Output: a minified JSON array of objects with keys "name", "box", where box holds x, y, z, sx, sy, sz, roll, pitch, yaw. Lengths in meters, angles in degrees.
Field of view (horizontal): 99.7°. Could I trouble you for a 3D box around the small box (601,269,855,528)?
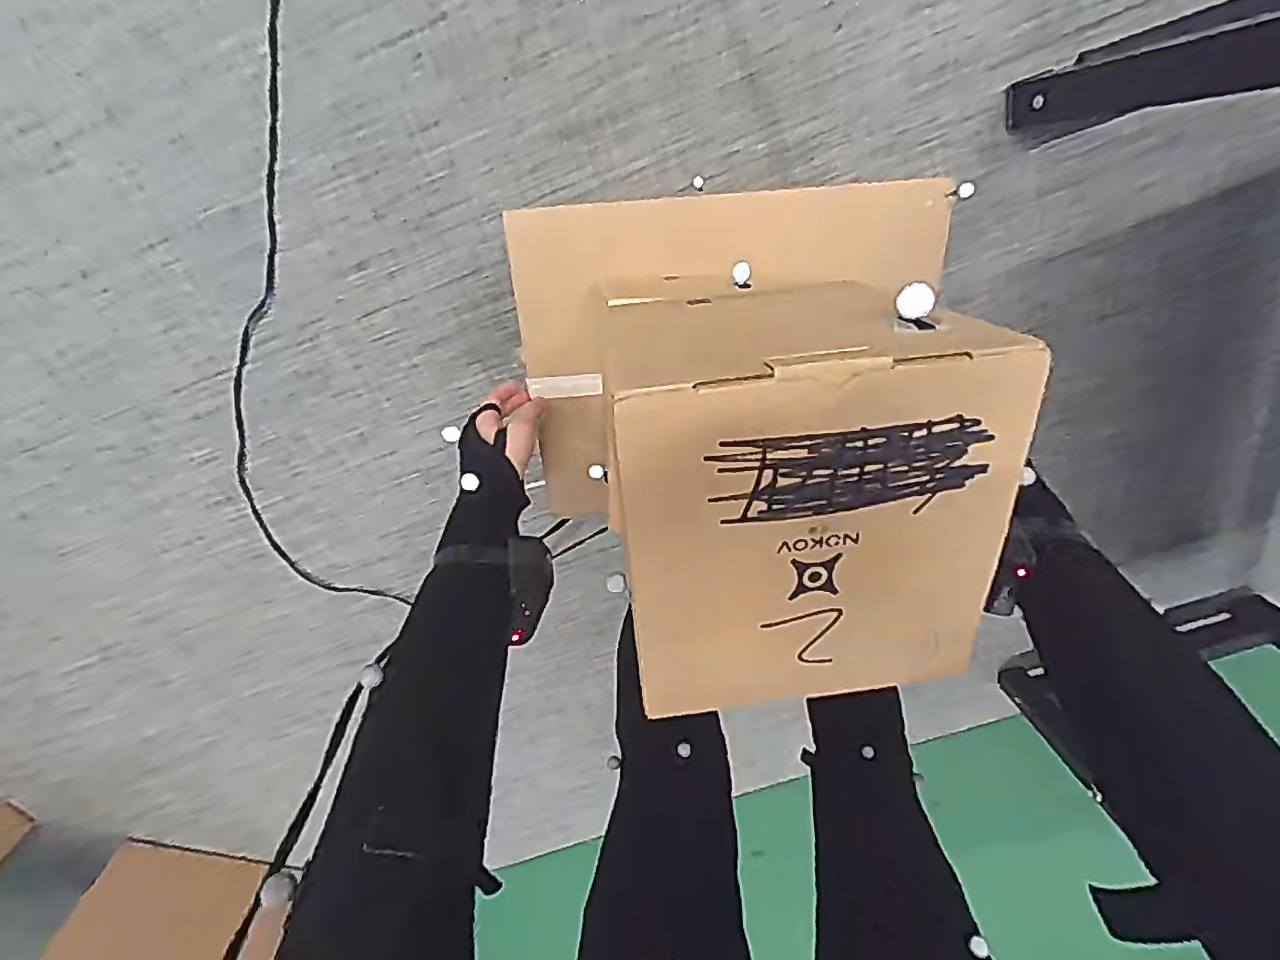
[{"name":"small box","box":[0.053,-0.079,0.454,0.168,0.176,0.179,-2,117,-4]}]
